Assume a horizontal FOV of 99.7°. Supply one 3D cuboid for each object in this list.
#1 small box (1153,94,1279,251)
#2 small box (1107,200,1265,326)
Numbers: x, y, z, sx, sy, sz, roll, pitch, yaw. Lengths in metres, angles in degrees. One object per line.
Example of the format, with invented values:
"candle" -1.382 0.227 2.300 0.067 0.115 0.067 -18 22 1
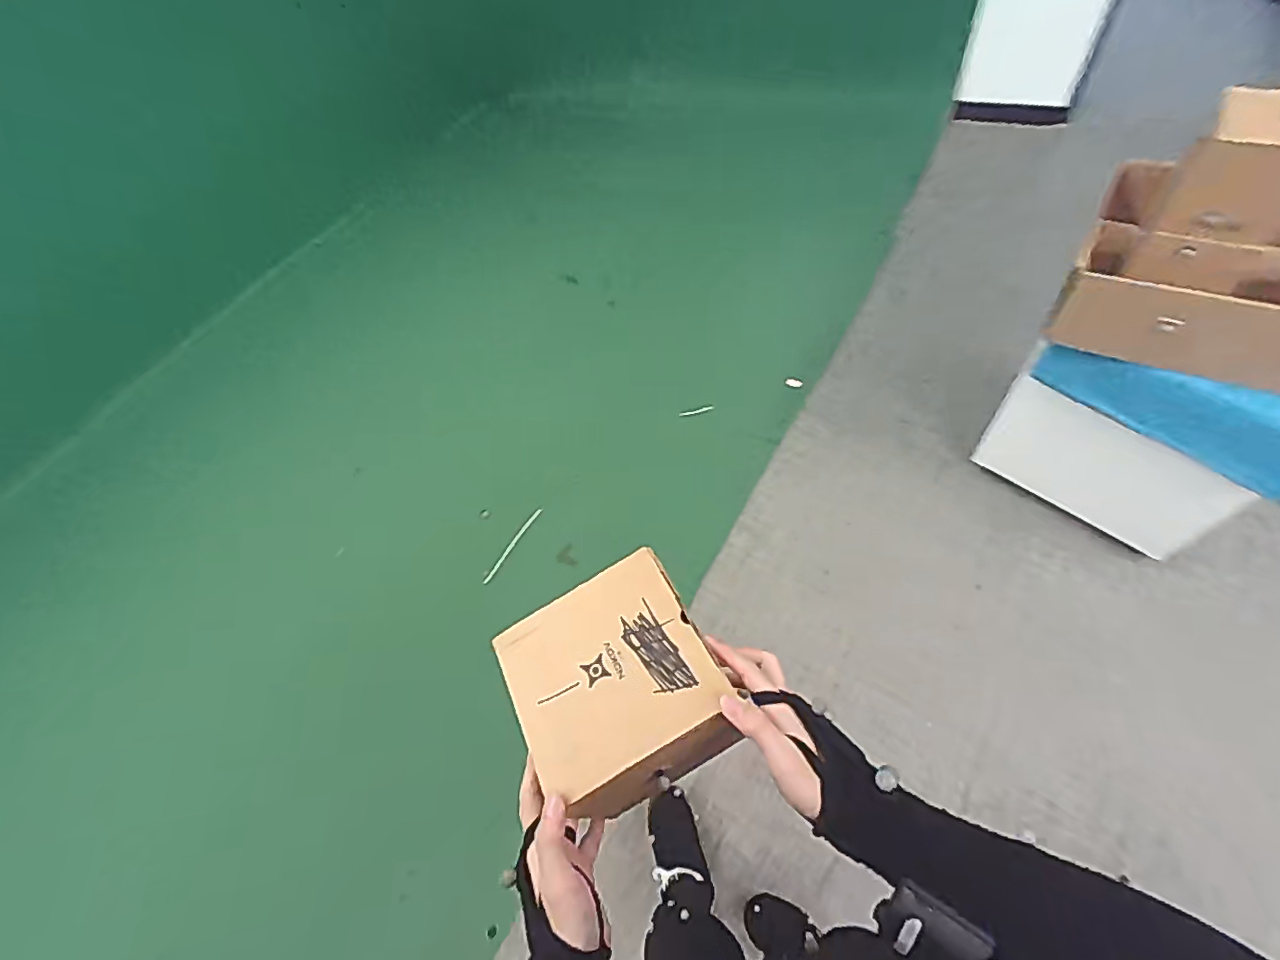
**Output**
"small box" 1.049 -0.534 0.942 0.168 0.176 0.179 24 65 25
"small box" 1.076 -0.440 1.073 0.168 0.176 0.179 24 64 25
